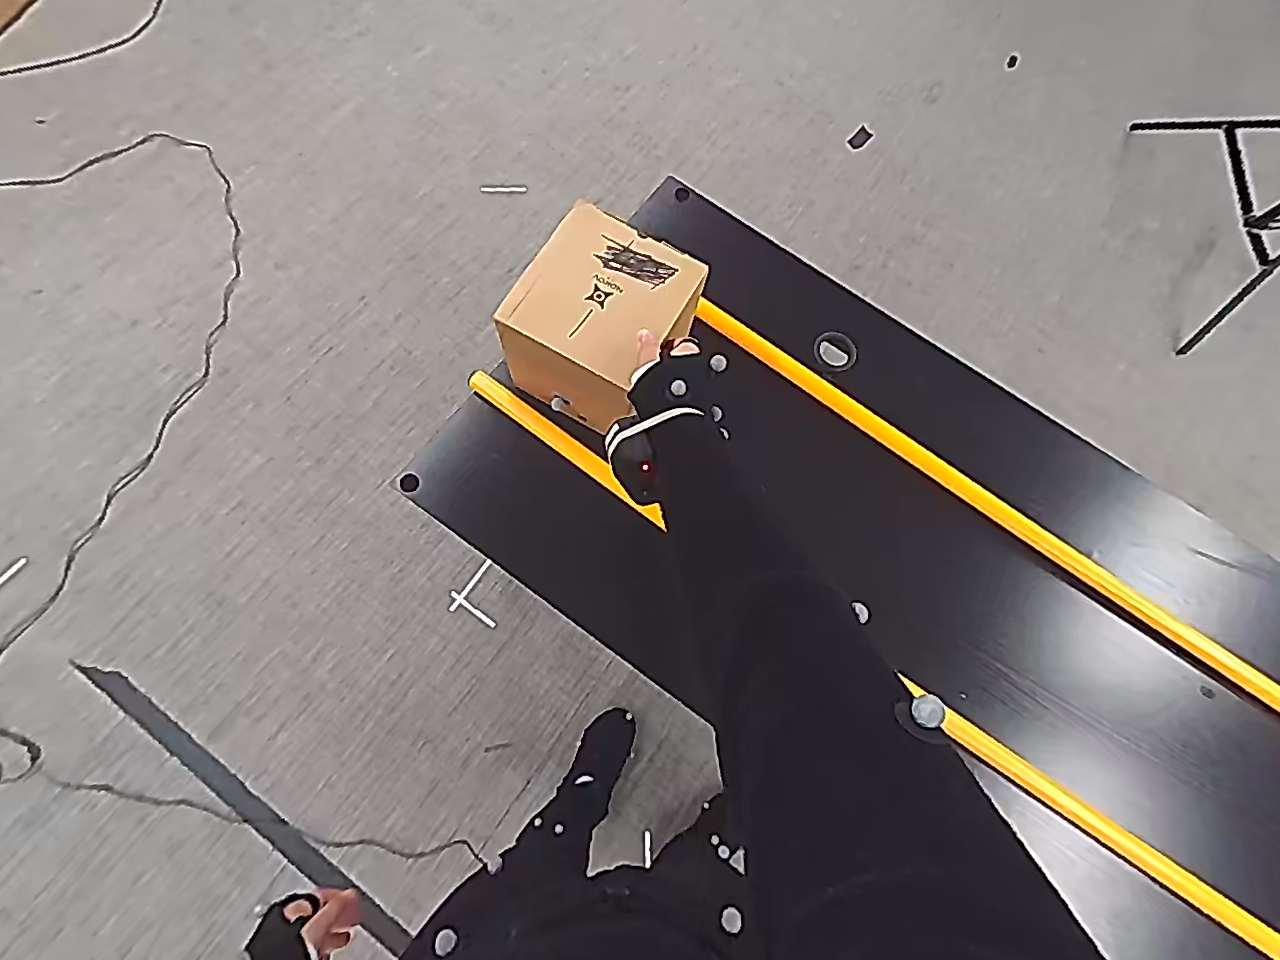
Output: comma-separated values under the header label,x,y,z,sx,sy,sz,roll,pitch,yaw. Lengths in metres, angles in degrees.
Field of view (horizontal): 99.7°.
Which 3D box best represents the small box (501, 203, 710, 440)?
label,x,y,z,sx,sy,sz,roll,pitch,yaw
small box,-0.041,-0.177,0.648,0.168,0.176,0.179,29,75,4
